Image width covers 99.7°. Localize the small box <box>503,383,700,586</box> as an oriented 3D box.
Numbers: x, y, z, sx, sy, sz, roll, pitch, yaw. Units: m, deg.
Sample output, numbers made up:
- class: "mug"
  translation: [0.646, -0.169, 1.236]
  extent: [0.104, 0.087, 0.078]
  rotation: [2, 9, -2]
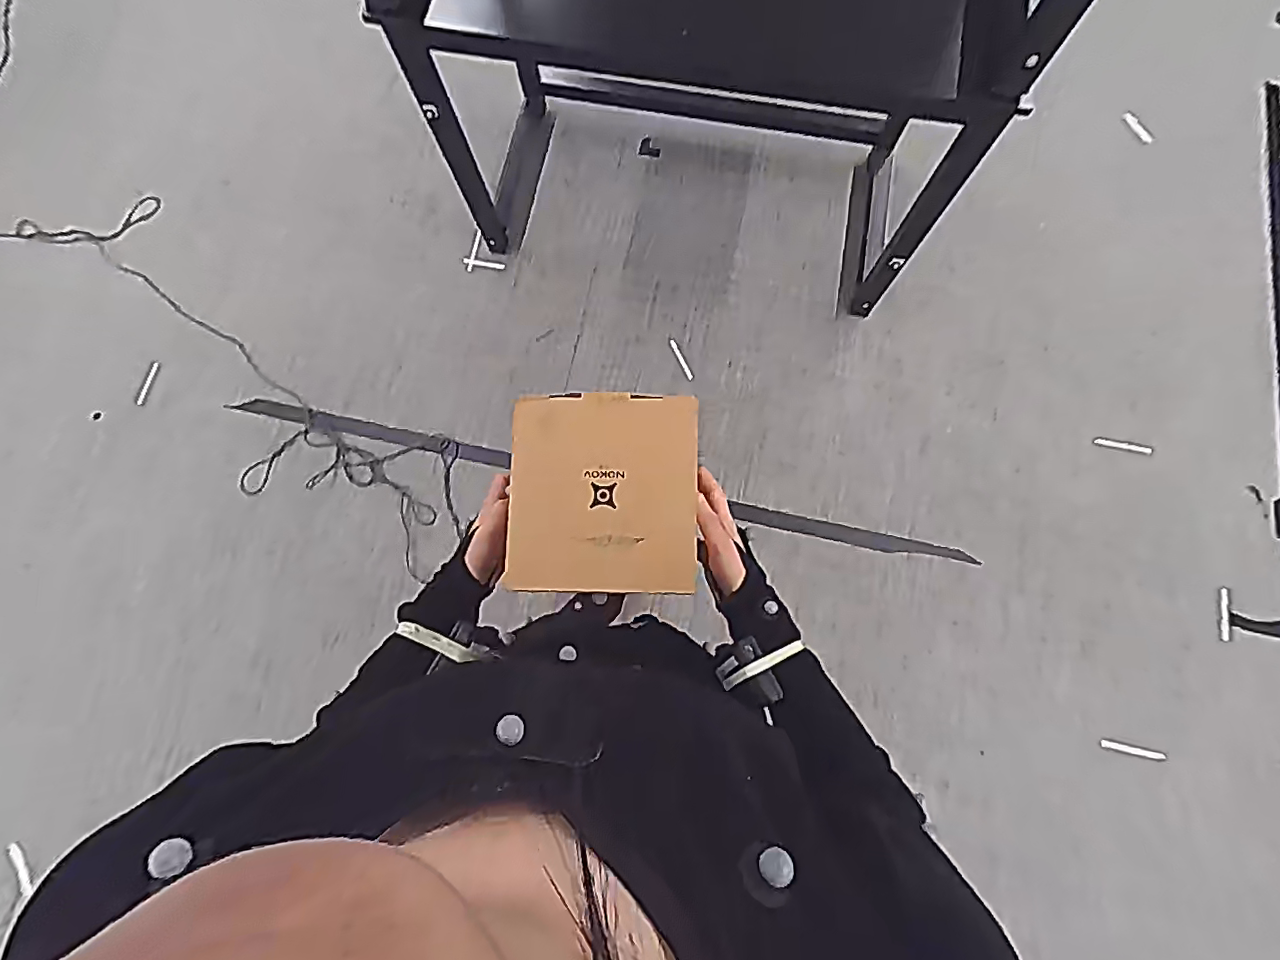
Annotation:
- class: "small box"
  translation: [-0.030, 0.014, 0.546]
  extent: [0.168, 0.176, 0.179]
  rotation: [1, 81, 2]
